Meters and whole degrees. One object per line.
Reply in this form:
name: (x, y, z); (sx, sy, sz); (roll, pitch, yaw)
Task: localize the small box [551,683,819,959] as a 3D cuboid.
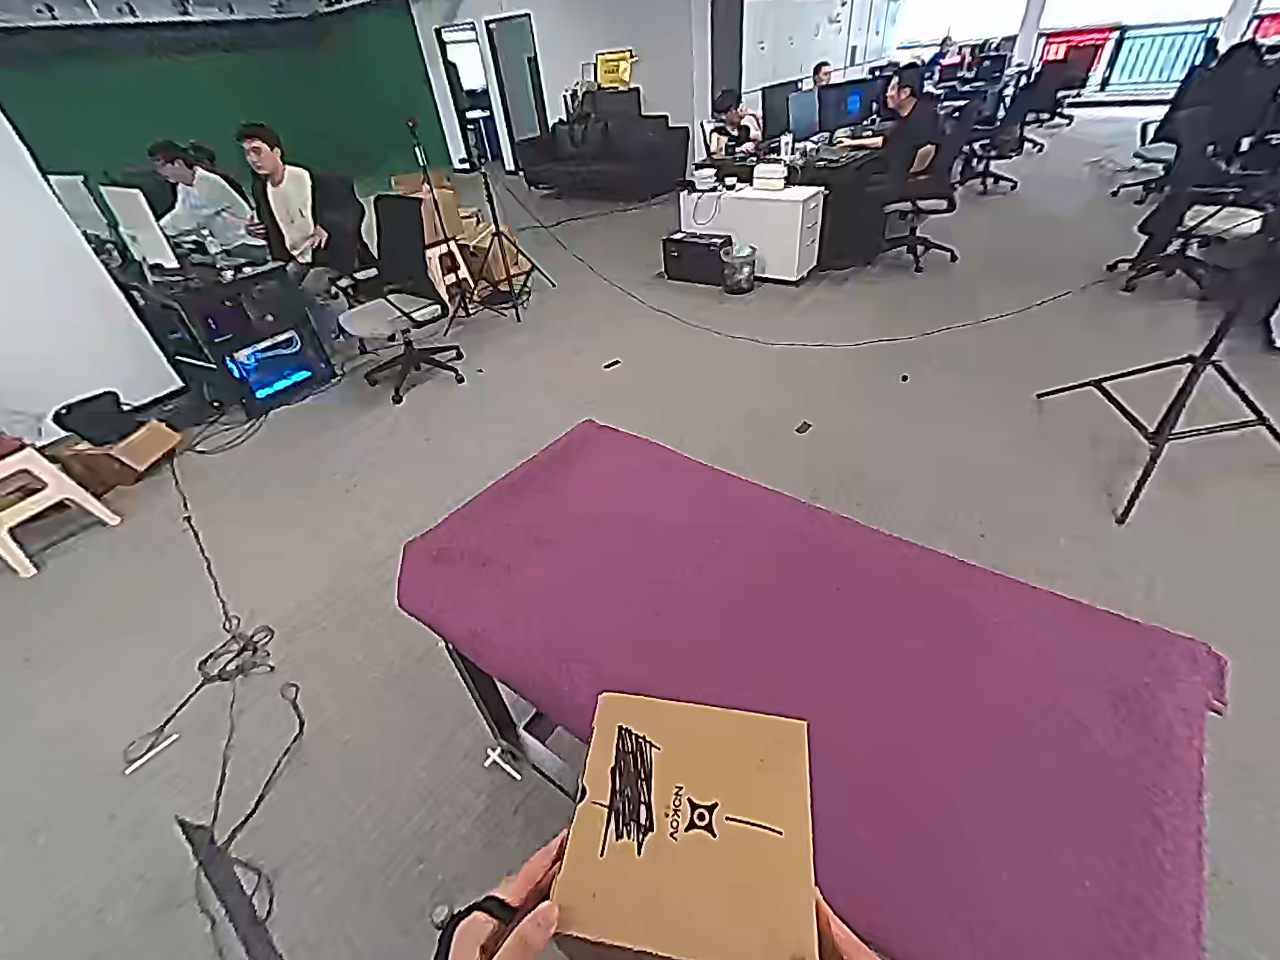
small box: (0.043, 0.297, 0.454); (0.179, 0.176, 0.168); (4, 43, 9)
